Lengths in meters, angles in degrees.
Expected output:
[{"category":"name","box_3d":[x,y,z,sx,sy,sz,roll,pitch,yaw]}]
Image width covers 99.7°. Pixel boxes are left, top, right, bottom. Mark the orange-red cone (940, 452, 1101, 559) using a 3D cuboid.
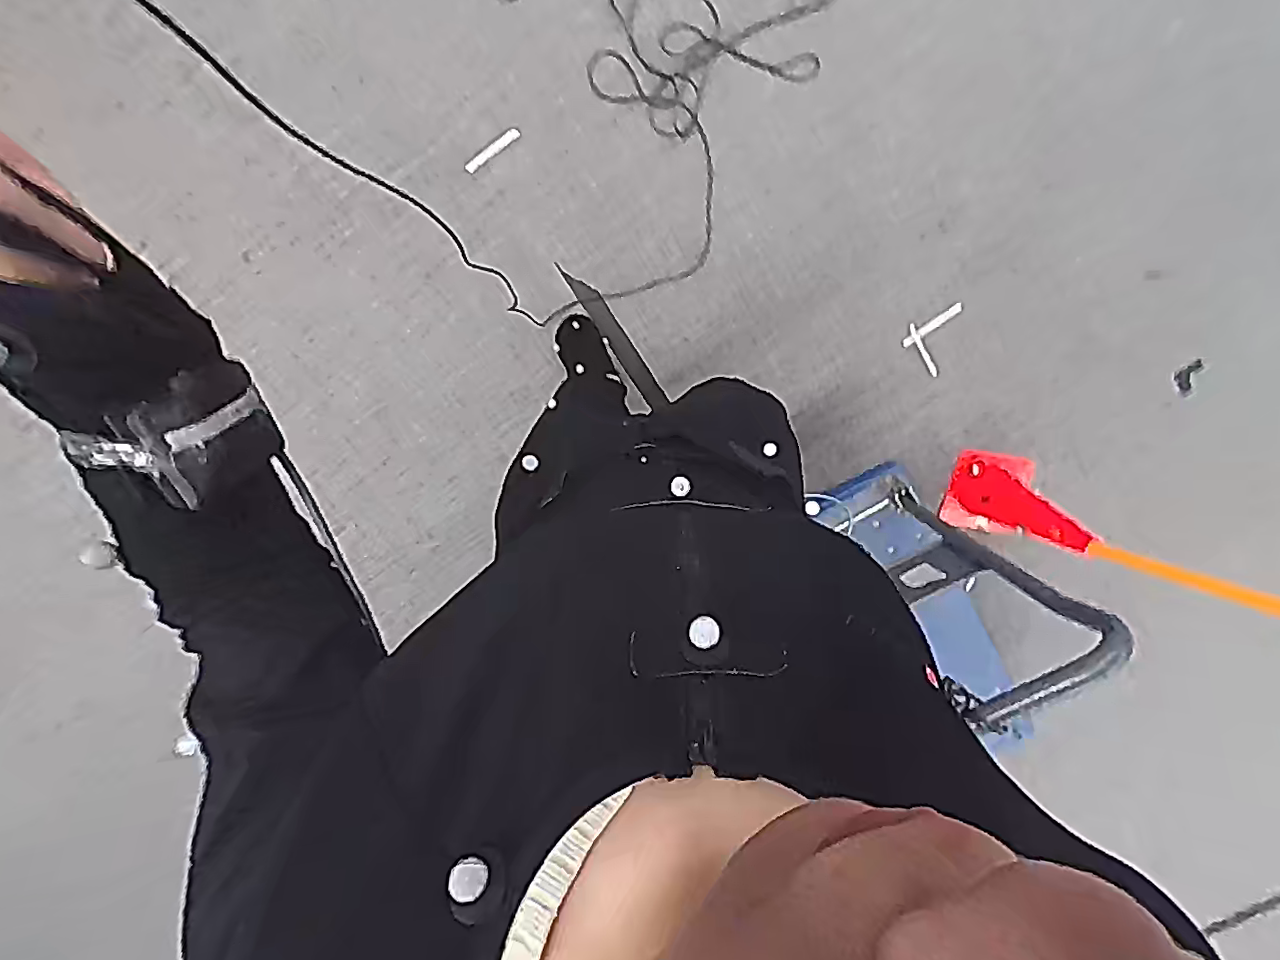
[{"category":"orange-red cone","box_3d":[0.895,0.089,1.234,0.198,0.360,0.199,11,108,-3]}]
